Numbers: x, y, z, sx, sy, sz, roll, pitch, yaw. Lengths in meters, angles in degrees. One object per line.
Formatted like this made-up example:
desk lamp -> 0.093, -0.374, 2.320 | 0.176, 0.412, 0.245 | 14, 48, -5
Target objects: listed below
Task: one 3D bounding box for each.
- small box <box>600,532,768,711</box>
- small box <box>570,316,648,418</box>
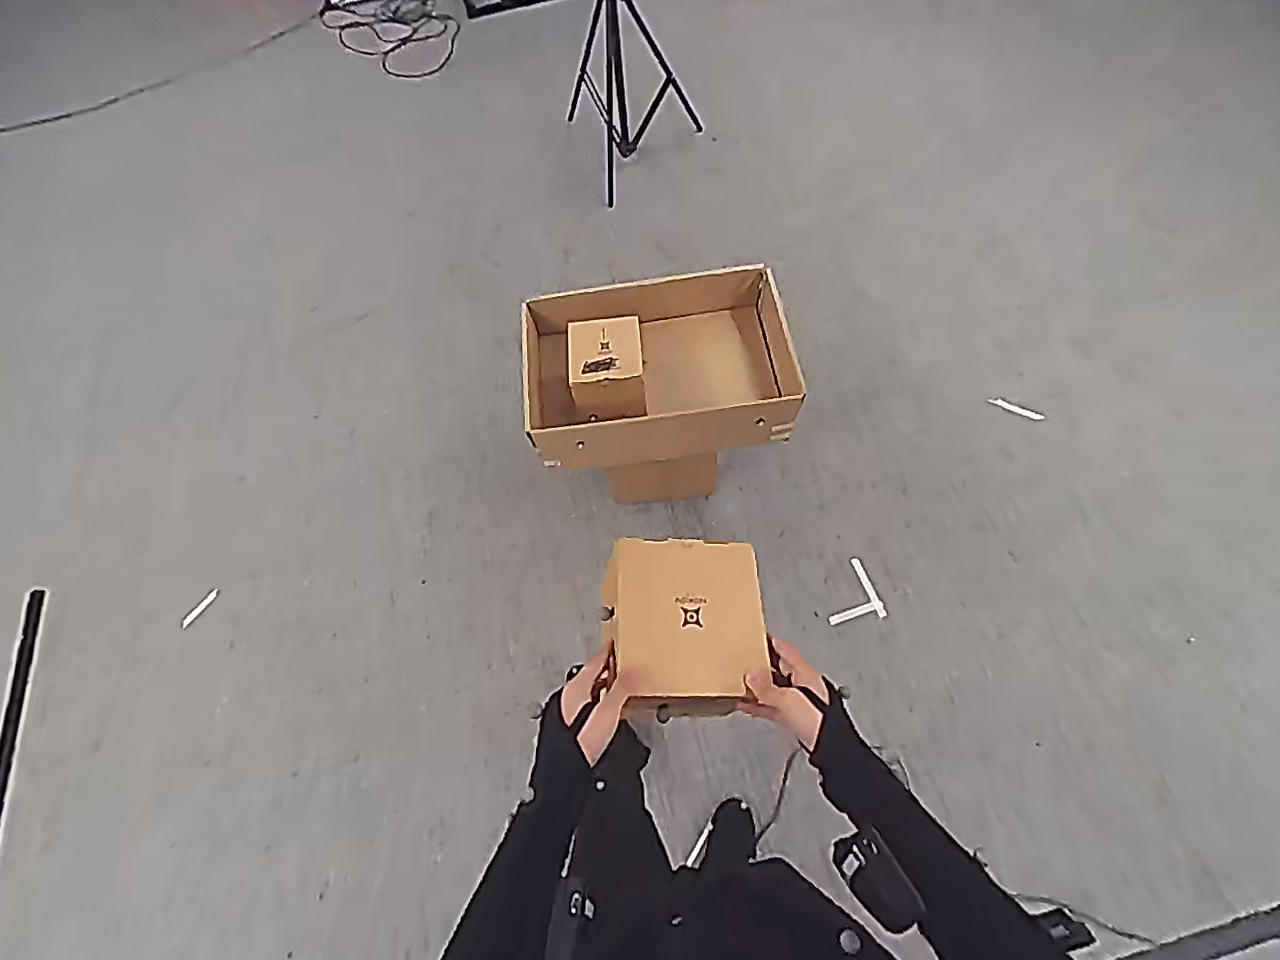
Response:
small box -> 0.042, 0.180, 0.661 | 0.168, 0.176, 0.179 | 4, 58, -8
small box -> -0.071, -0.259, 1.284 | 0.168, 0.176, 0.179 | -5, 64, 2
